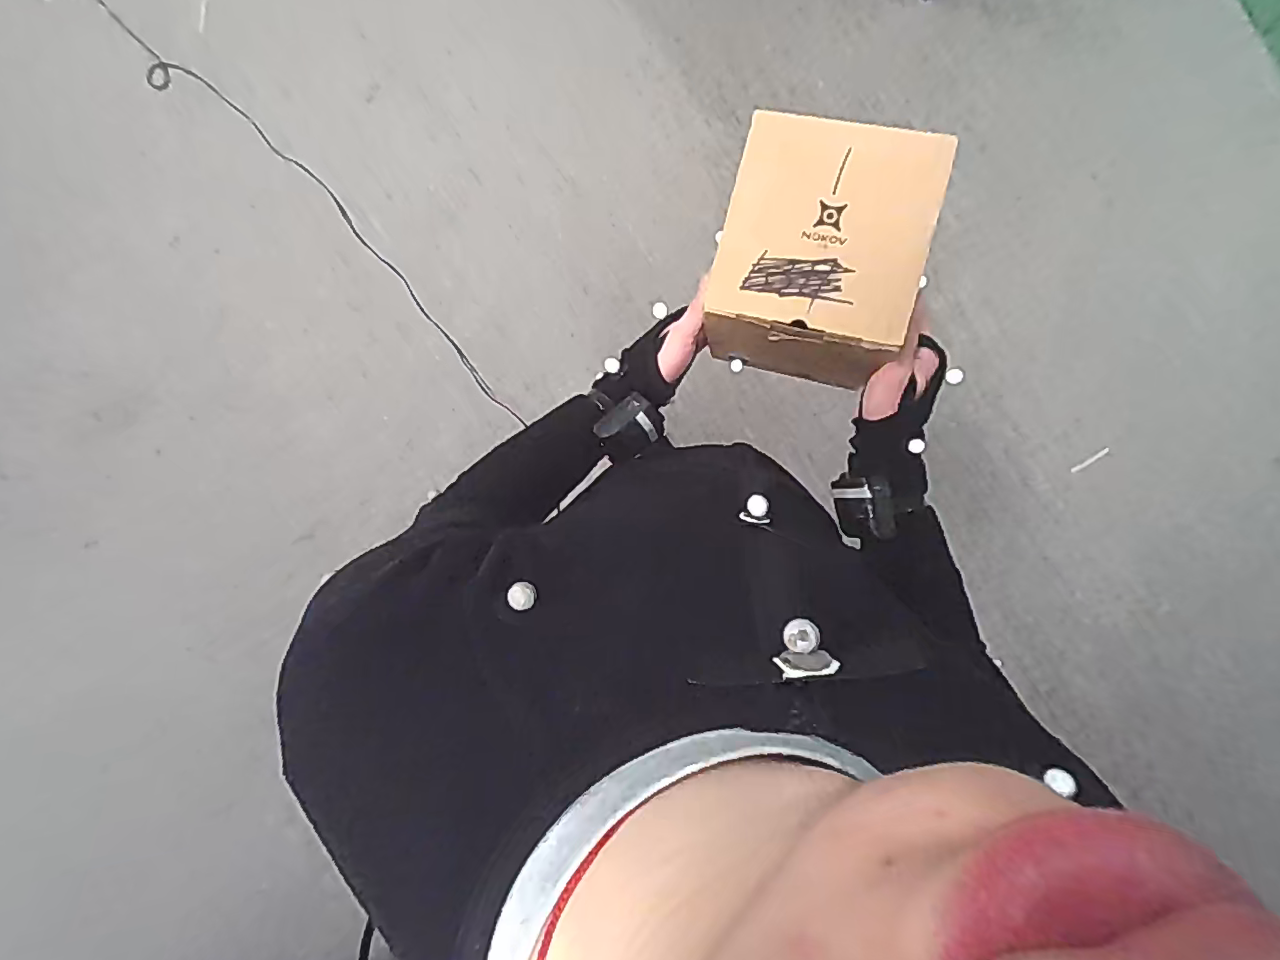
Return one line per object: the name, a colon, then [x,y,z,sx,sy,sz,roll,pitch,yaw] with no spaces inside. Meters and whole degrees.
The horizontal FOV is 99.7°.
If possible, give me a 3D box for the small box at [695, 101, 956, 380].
small box: [0.161,-0.207,0.512,0.168,0.176,0.179,16,91,11]
